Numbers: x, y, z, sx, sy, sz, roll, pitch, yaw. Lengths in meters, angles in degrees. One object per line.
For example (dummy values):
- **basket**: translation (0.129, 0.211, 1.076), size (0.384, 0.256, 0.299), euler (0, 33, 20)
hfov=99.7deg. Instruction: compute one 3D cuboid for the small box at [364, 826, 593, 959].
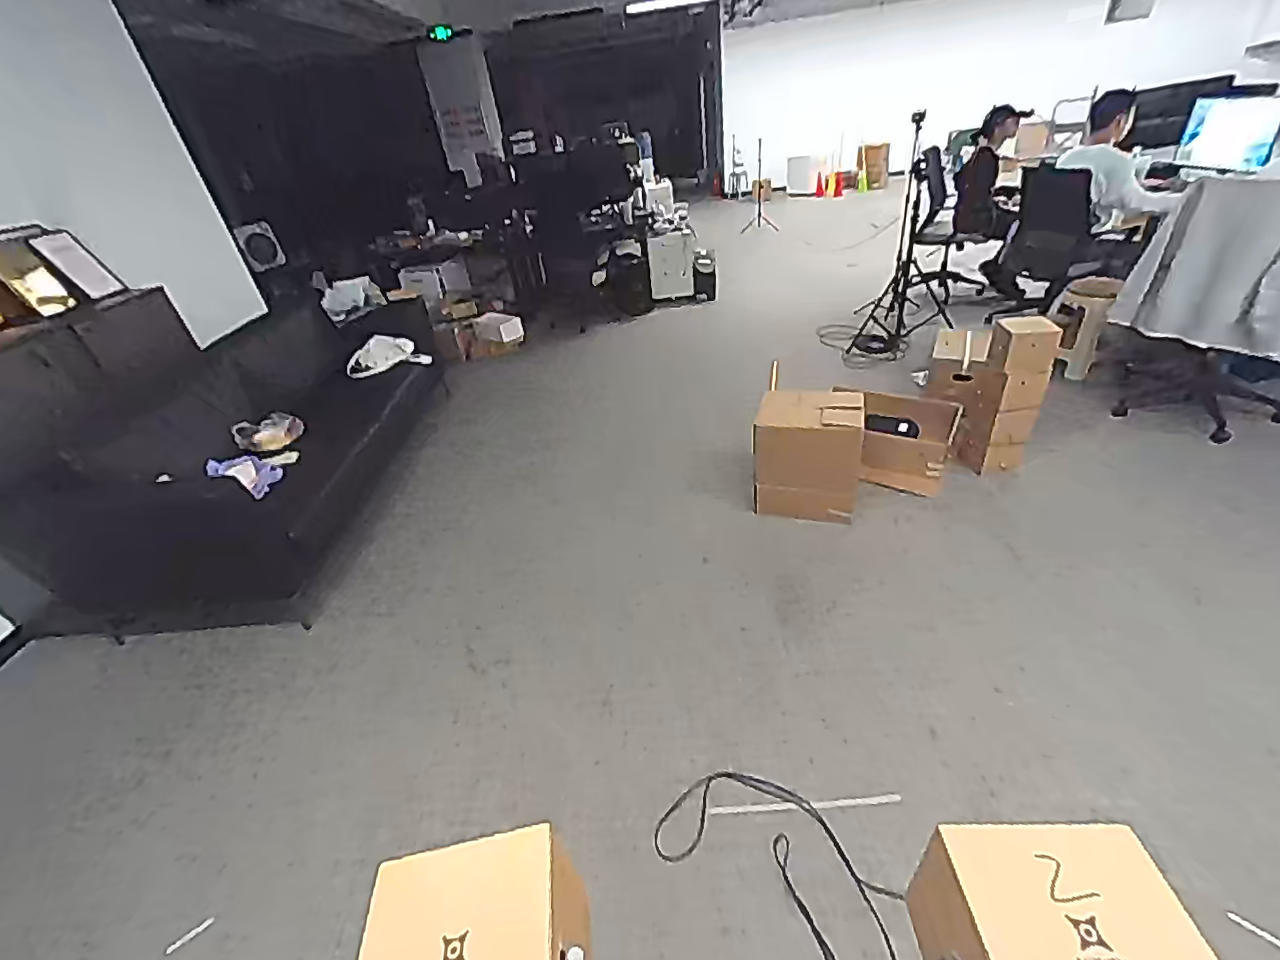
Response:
- **small box**: translation (-0.136, 0.456, 0.484), size (0.168, 0.176, 0.179), euler (-12, 33, -2)
